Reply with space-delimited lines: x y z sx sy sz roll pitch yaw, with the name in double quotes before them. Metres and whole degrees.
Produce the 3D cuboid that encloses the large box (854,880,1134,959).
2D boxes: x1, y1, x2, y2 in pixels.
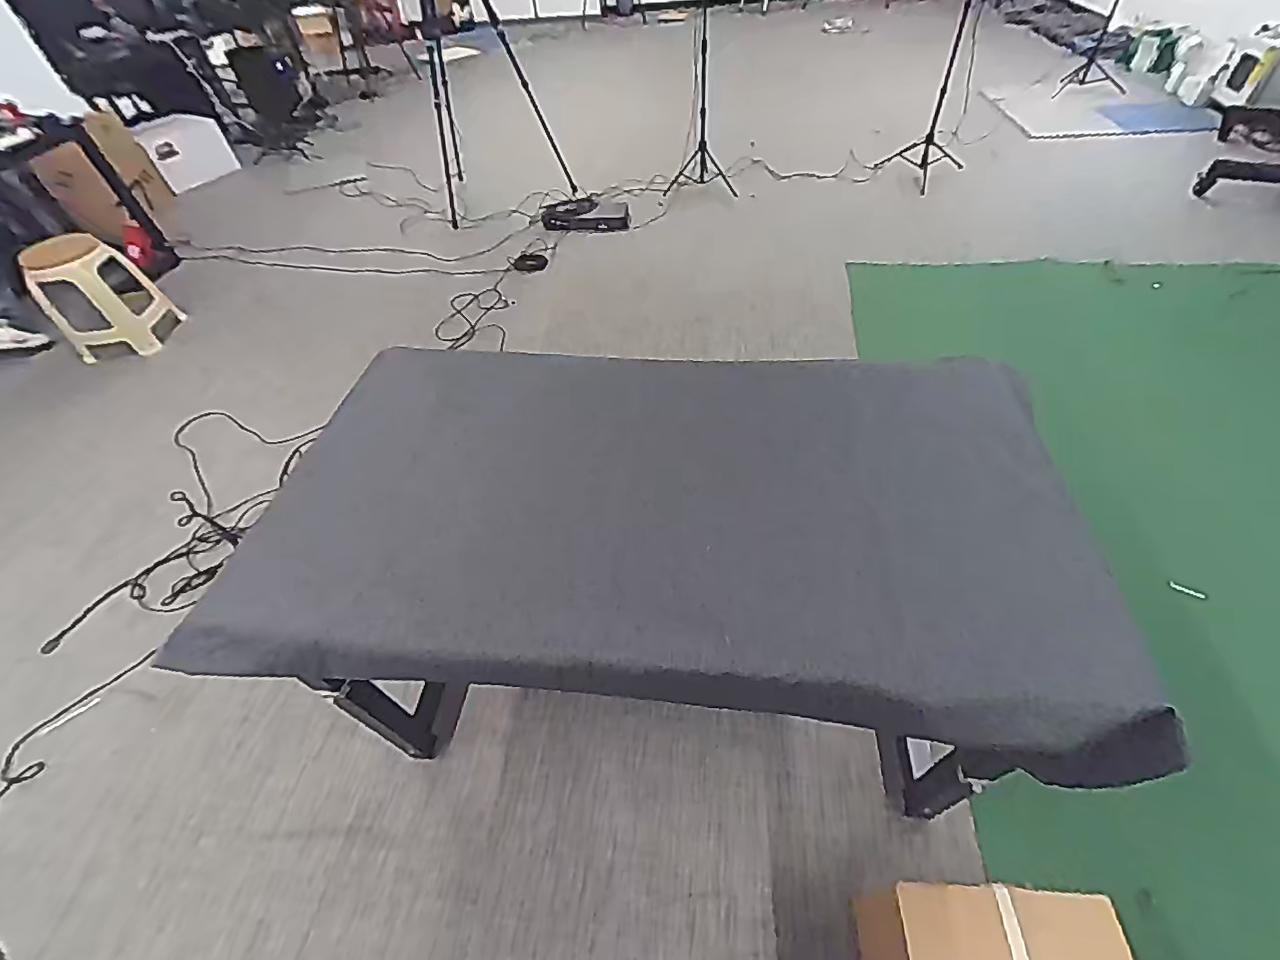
"large box" 0.549 0.865 0.810 0.320 0.320 0.408 0 49 6
